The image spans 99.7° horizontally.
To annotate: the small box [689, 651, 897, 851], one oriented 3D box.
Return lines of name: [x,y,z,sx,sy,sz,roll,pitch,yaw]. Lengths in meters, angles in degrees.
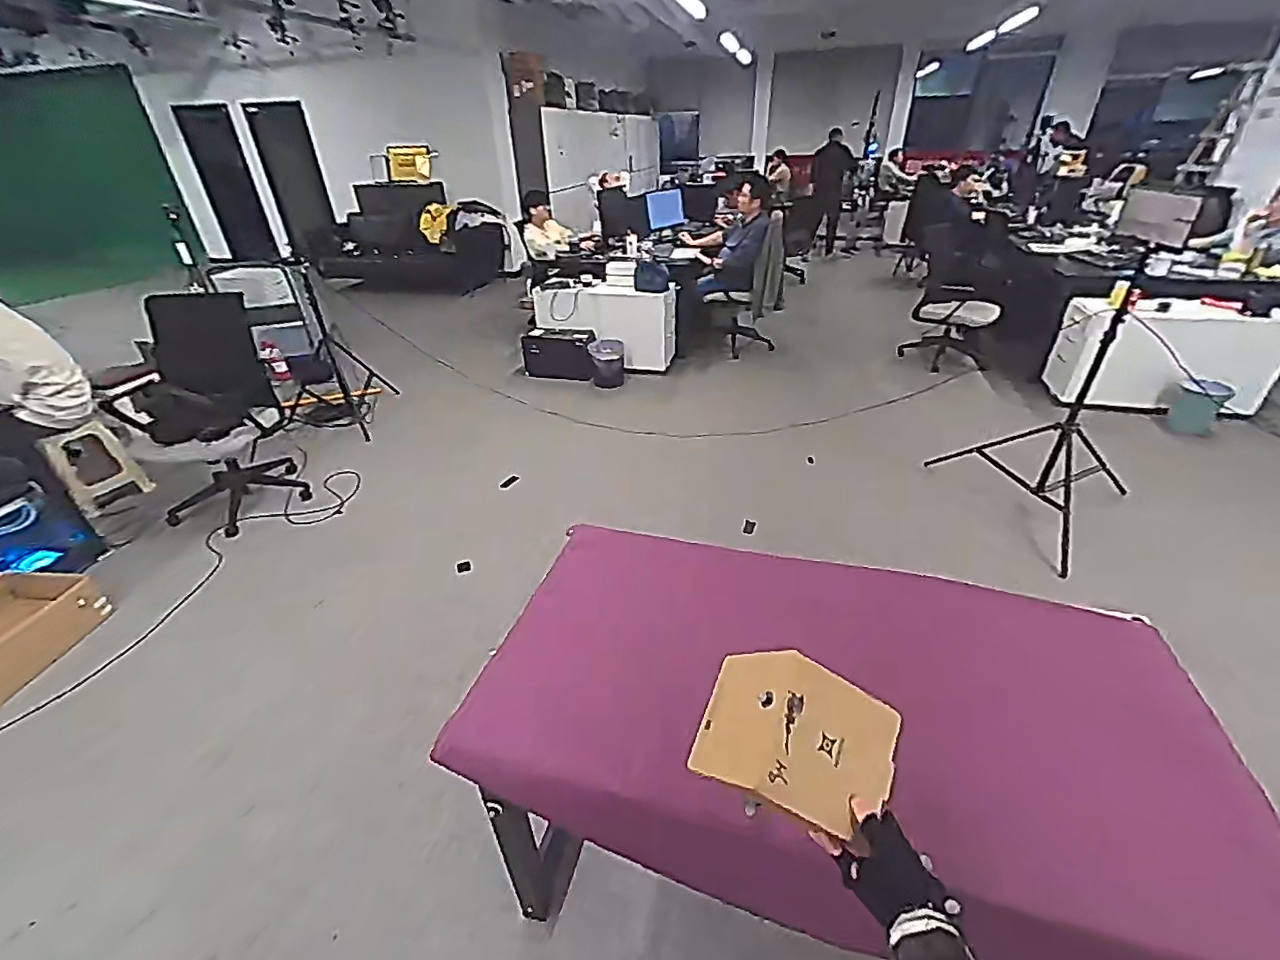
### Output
small box: [0.195,0.342,0.711,0.179,0.176,0.168,32,61,-8]
